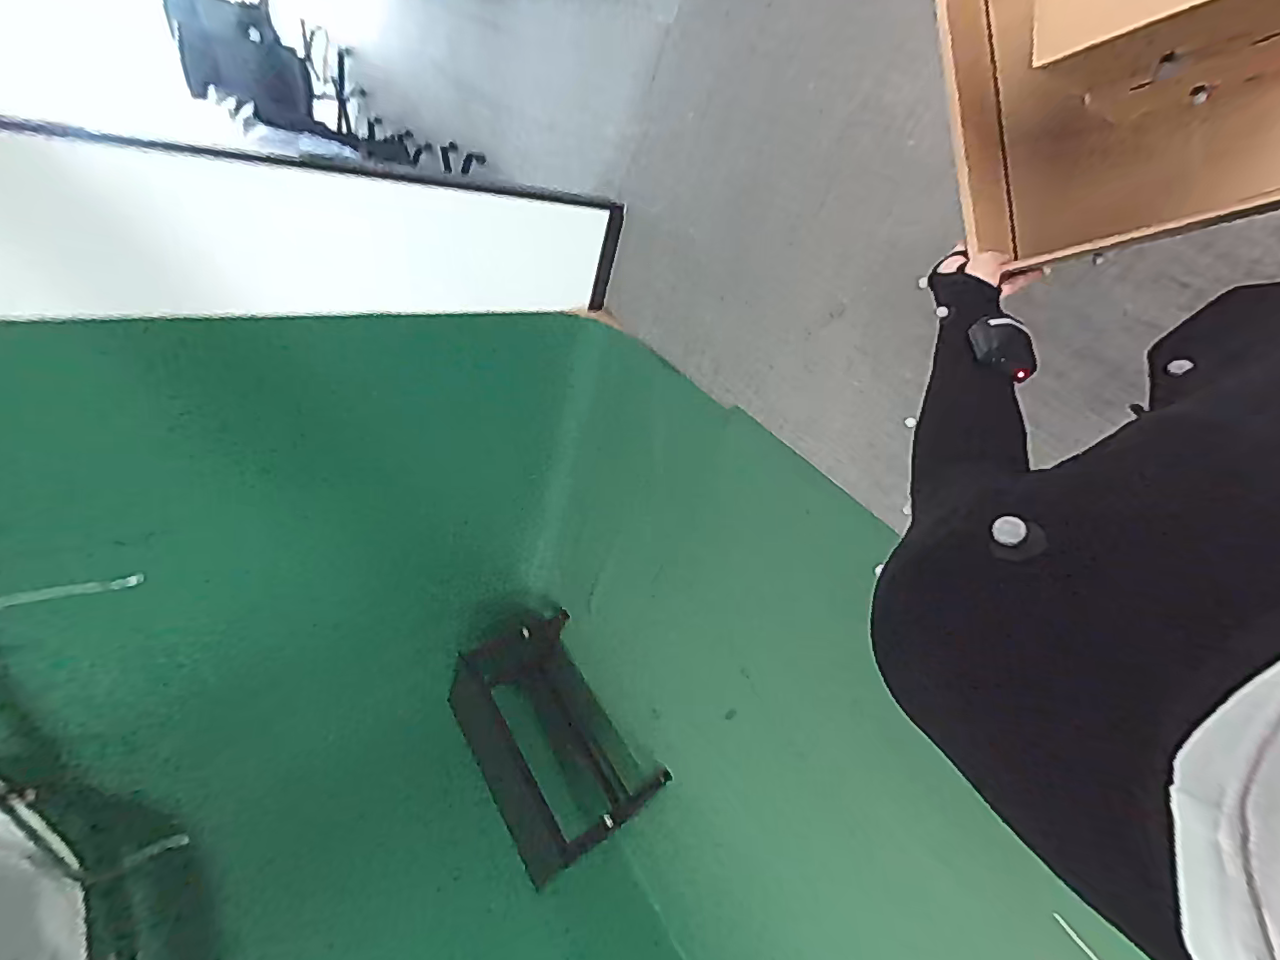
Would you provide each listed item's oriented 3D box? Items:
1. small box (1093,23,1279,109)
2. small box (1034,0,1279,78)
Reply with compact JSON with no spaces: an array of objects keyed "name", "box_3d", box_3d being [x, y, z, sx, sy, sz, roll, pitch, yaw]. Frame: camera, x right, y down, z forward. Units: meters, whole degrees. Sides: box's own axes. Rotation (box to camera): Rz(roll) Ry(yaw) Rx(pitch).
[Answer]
[{"name":"small box","box_3d":[0.527,-0.468,0.483,0.168,0.176,0.179,5,112,49]},{"name":"small box","box_3d":[0.405,-0.425,0.382,0.168,0.176,0.179,11,116,48]}]
